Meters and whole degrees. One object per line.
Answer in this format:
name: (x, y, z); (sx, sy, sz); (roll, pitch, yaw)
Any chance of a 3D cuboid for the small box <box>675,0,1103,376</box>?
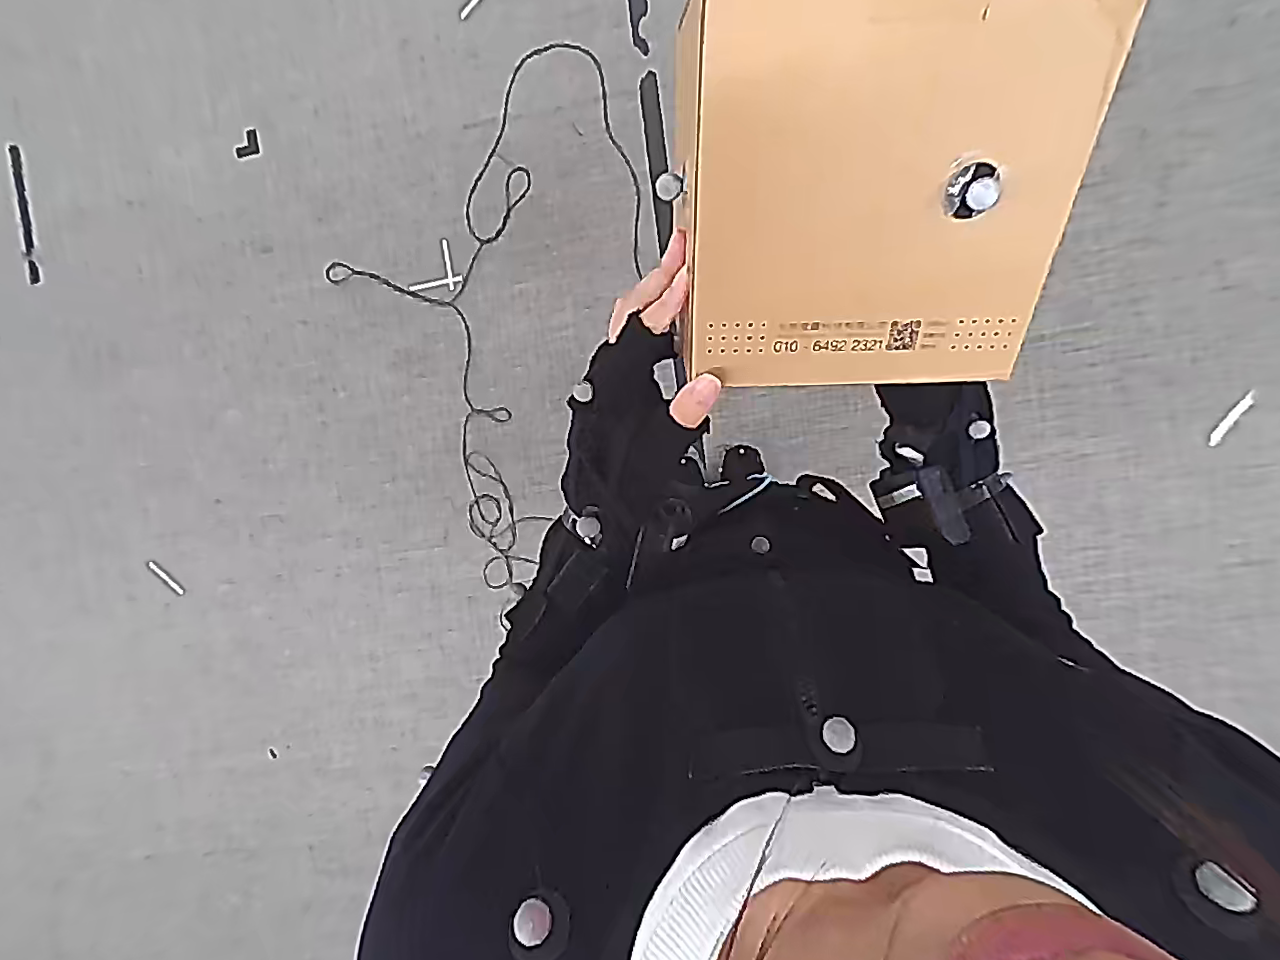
small box: (0.106, -0.168, 0.323); (0.168, 0.179, 0.176); (0, 122, 1)
